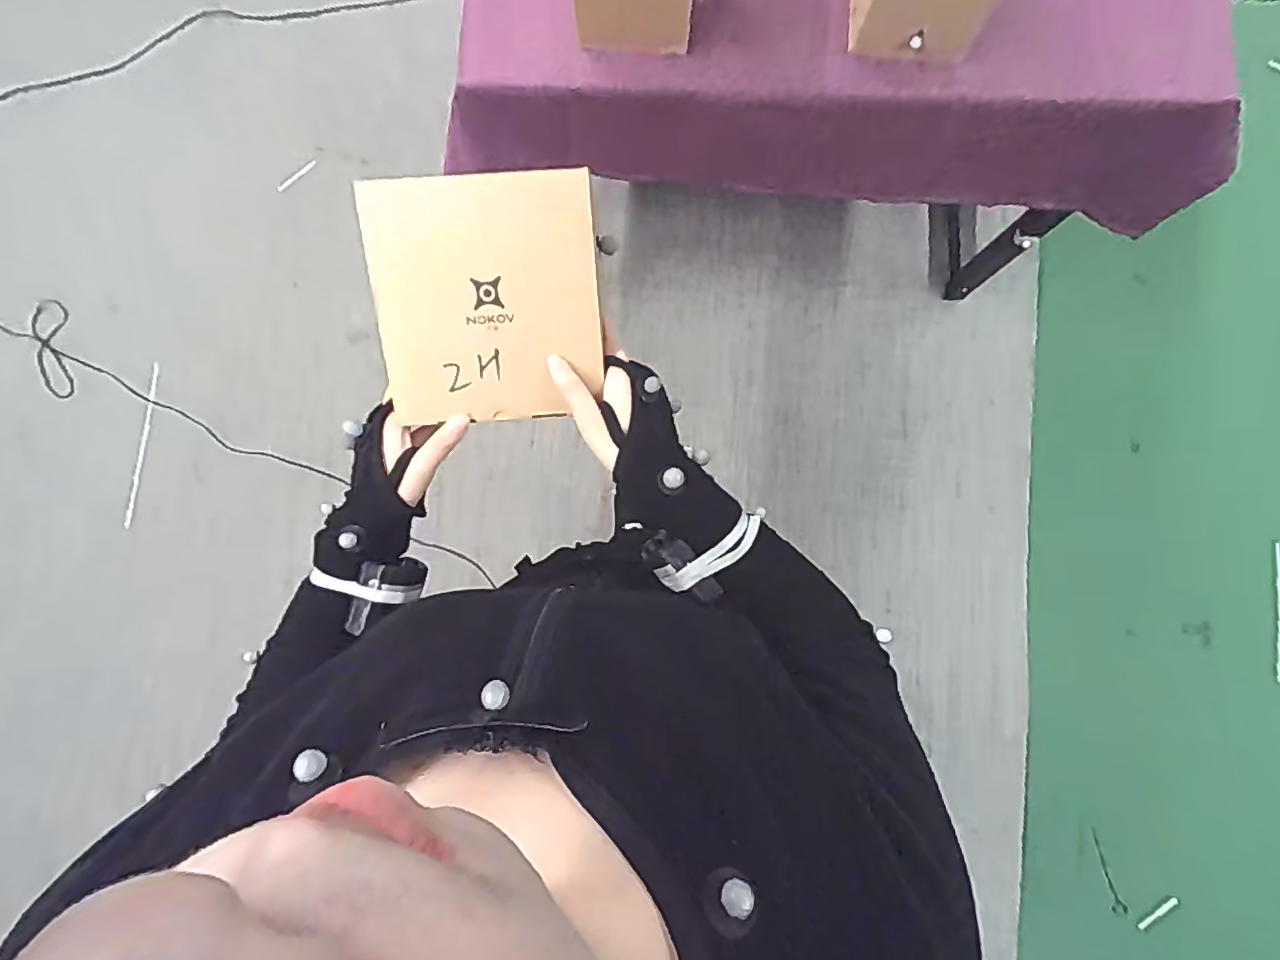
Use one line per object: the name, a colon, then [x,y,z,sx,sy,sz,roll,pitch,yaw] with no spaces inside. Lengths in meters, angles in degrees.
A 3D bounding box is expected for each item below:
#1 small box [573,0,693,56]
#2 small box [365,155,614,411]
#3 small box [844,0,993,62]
small box: [-0.006,-0.766,0.787,0.179,0.176,0.168,6,85,1]
small box: [-0.110,-0.163,0.478,0.168,0.176,0.179,-3,107,0]
small box: [0.414,-0.745,0.775,0.179,0.176,0.168,5,83,1]
